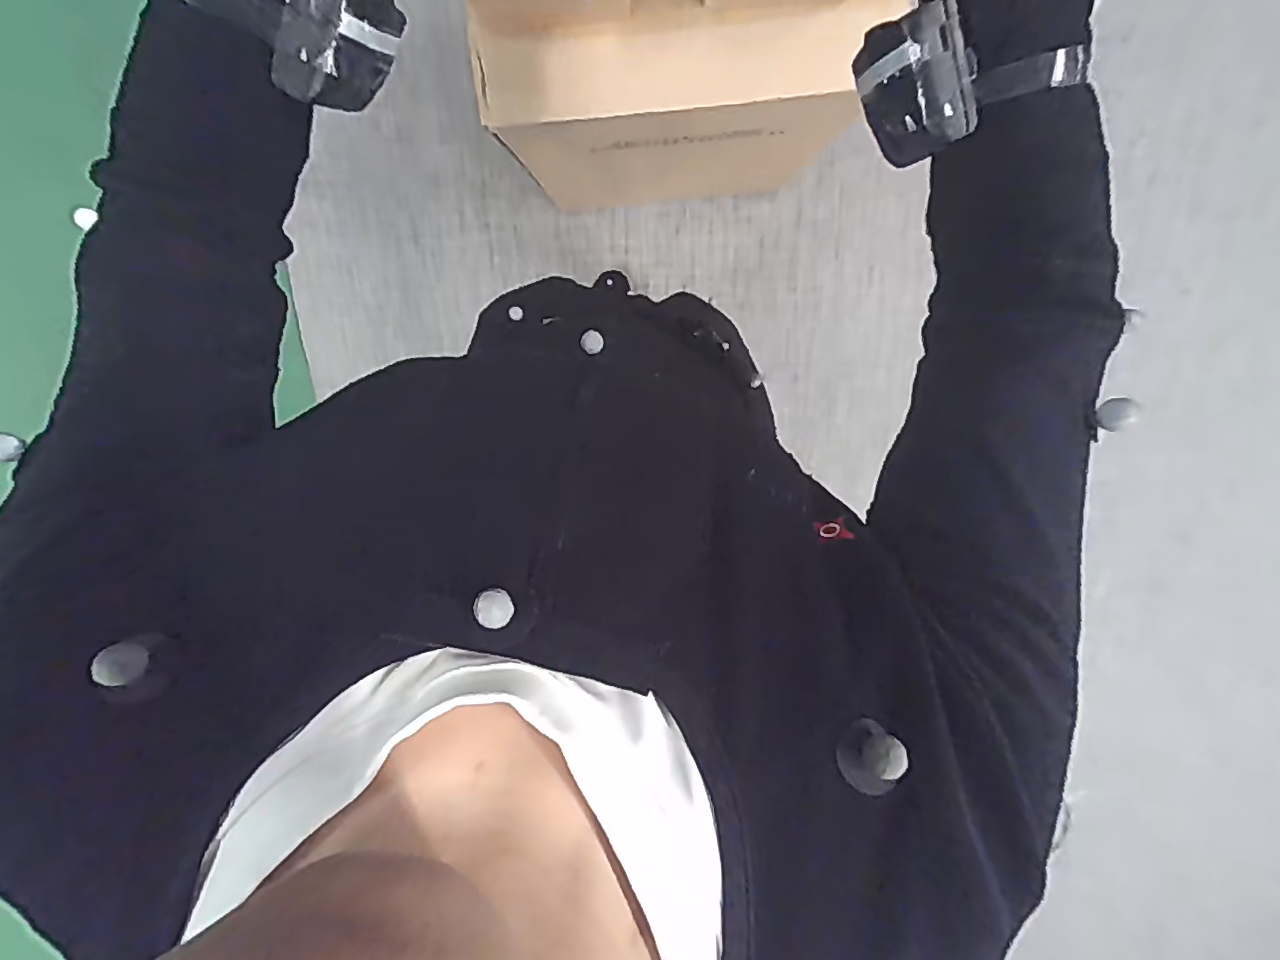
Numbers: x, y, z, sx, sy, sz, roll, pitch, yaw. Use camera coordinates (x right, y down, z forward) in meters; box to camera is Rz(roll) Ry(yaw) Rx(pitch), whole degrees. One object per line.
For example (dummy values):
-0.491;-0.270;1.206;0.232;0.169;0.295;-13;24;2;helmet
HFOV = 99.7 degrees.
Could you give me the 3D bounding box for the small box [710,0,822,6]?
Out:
0.157;-0.607;0.534;0.179;0.176;0.168;-2;112;2;small box
